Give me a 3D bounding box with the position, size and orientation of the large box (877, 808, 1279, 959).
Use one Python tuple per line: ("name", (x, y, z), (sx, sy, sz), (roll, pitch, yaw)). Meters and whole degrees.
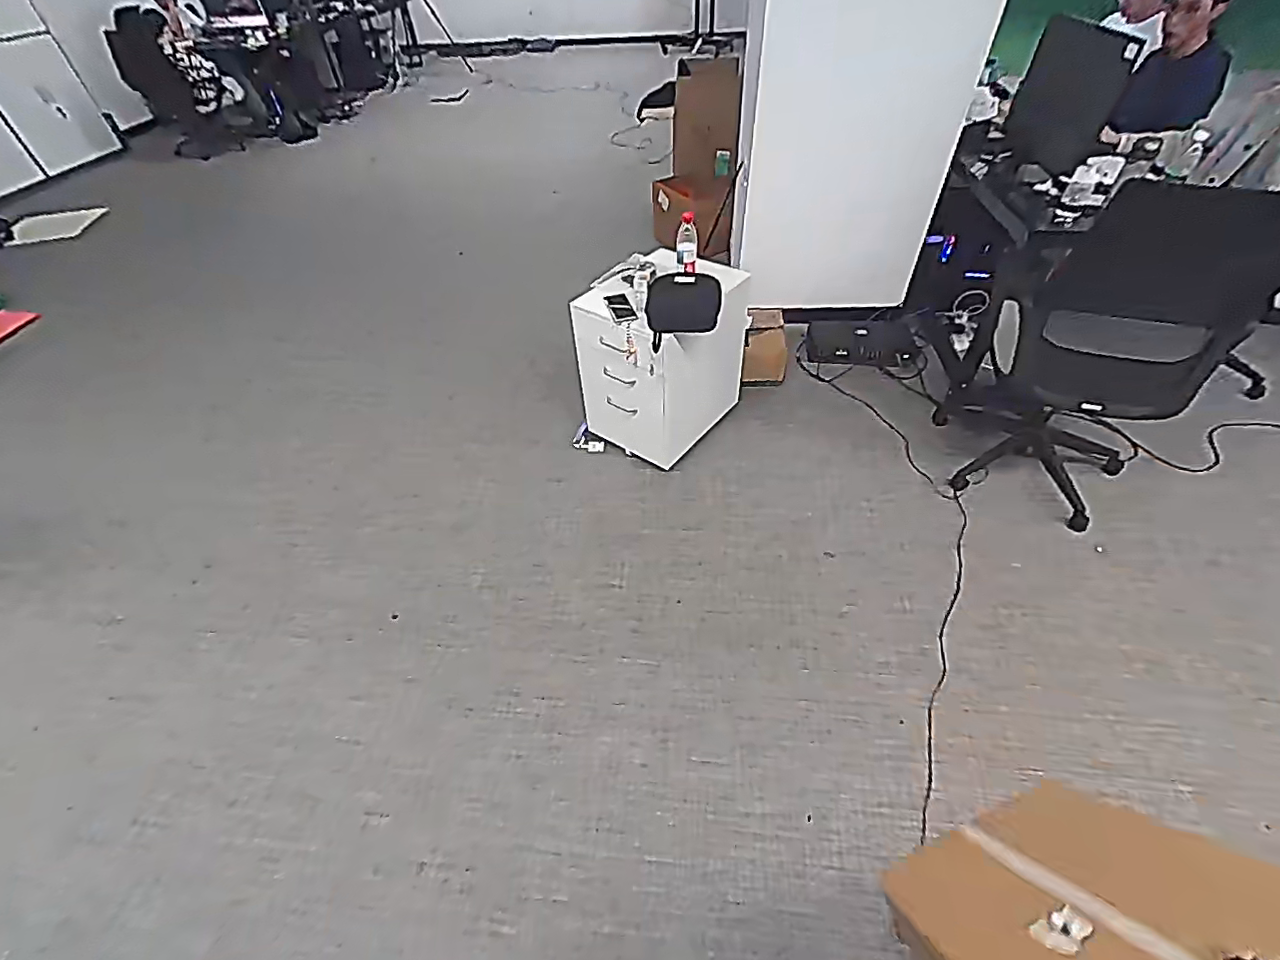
("large box", (0.540, 0.632, 0.580), (0.320, 0.408, 0.320), (-24, 75, -6))
